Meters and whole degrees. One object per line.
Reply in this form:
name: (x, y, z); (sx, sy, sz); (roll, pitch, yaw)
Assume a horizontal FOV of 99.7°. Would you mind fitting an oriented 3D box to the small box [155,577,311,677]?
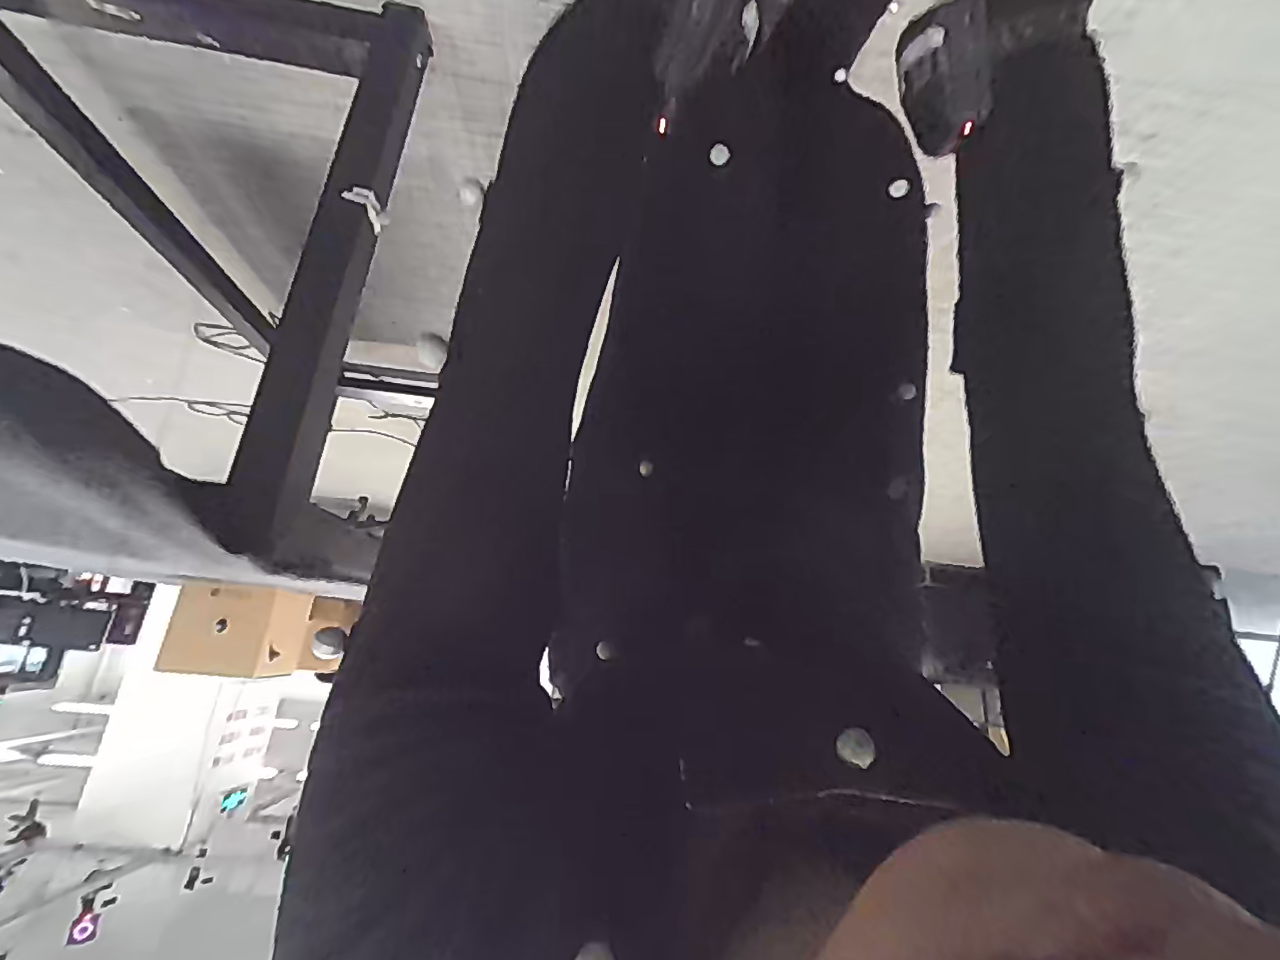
small box: (-0.781, 0.289, 1.059); (0.168, 0.176, 0.179); (8, 162, -8)
